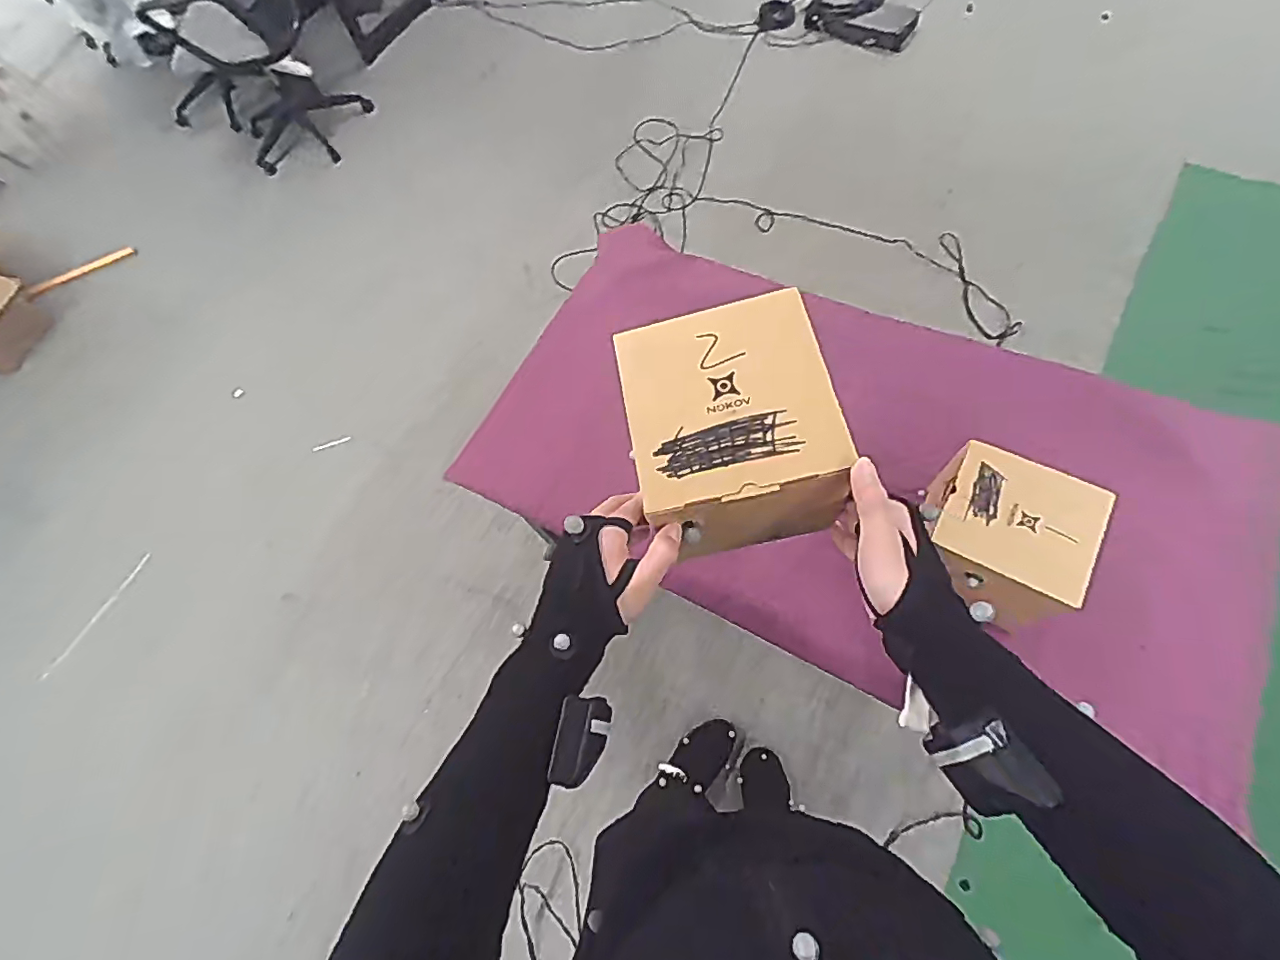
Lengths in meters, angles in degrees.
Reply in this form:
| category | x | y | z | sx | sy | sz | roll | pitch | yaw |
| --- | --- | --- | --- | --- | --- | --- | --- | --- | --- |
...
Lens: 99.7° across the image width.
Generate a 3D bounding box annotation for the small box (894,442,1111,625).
| category | x | y | z | sx | sy | sz | roll | pitch | yaw |
| --- | --- | --- | --- | --- | --- | --- | --- | --- | --- |
| small box | 0.482 | 0.081 | 0.747 | 0.179 | 0.176 | 0.168 | 27 | 72 | 18 |
